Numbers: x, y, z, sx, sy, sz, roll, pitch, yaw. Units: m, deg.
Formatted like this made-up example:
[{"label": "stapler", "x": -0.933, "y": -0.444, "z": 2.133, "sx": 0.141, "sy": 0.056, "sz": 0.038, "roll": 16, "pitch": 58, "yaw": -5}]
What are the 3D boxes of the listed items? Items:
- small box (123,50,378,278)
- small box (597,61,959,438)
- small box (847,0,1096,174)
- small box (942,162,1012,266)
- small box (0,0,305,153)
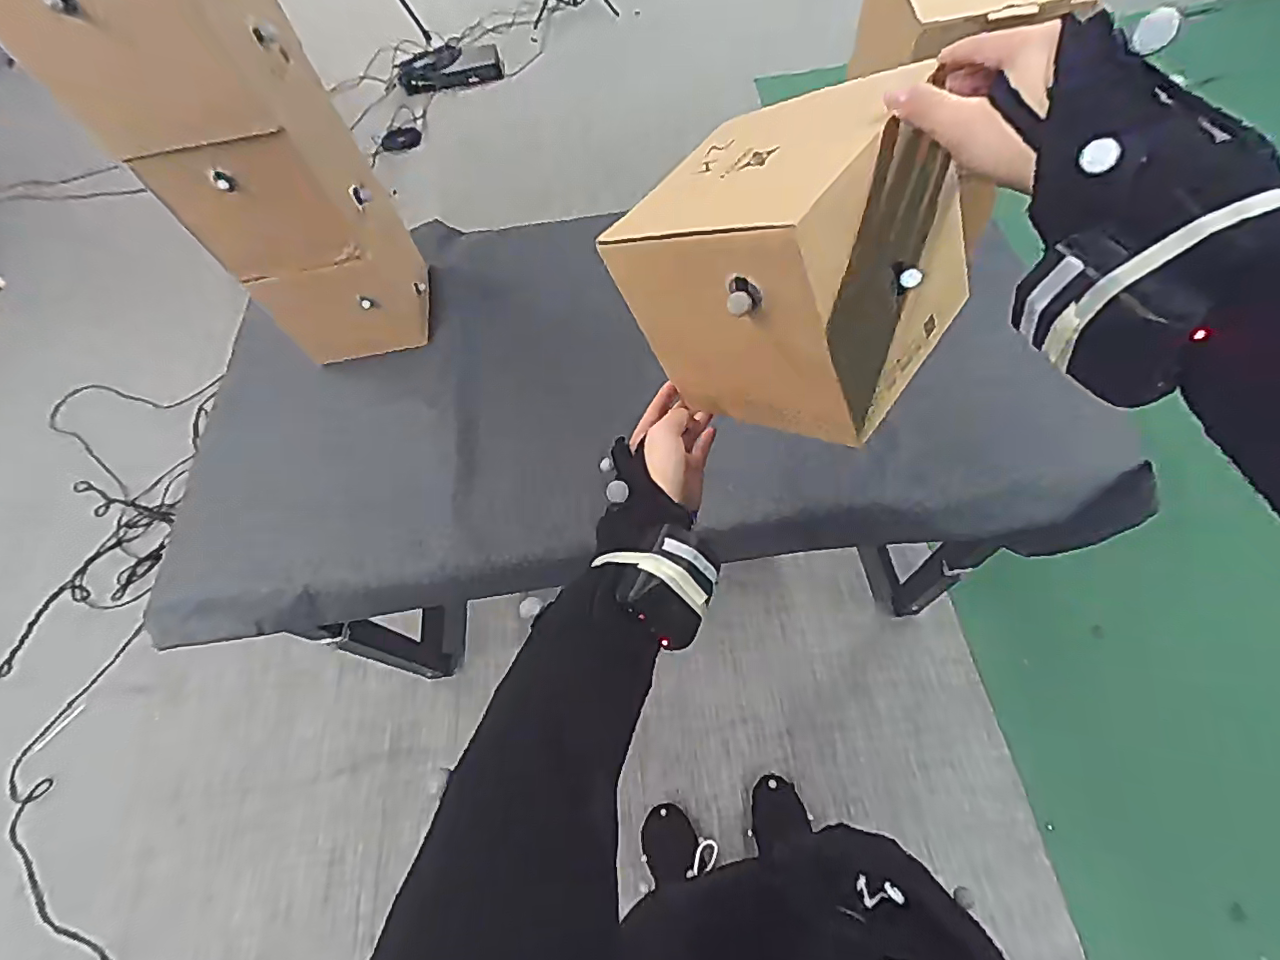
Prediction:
[{"label": "small box", "x": -0.450, "y": -0.373, "z": 0.658, "sx": 0.179, "sy": 0.176, "sz": 0.168, "roll": -11, "pitch": 64, "yaw": -1}, {"label": "small box", "x": 0.109, "y": -0.153, "z": 0.400, "sx": 0.168, "sy": 0.176, "sz": 0.179, "roll": -49, "pitch": 40, "yaw": -17}, {"label": "small box", "x": 0.345, "y": -0.468, "z": 0.609, "sx": 0.168, "sy": 0.176, "sz": 0.179, "roll": -6, "pitch": 64, "yaw": 4}, {"label": "small box", "x": 0.365, "y": -0.398, "z": 0.756, "sx": 0.168, "sy": 0.176, "sz": 0.179, "roll": -6, "pitch": 63, "yaw": 4}, {"label": "small box", "x": -0.462, "y": -0.440, "z": 0.508, "sx": 0.179, "sy": 0.176, "sz": 0.168, "roll": -9, "pitch": 63, "yaw": 1}]
